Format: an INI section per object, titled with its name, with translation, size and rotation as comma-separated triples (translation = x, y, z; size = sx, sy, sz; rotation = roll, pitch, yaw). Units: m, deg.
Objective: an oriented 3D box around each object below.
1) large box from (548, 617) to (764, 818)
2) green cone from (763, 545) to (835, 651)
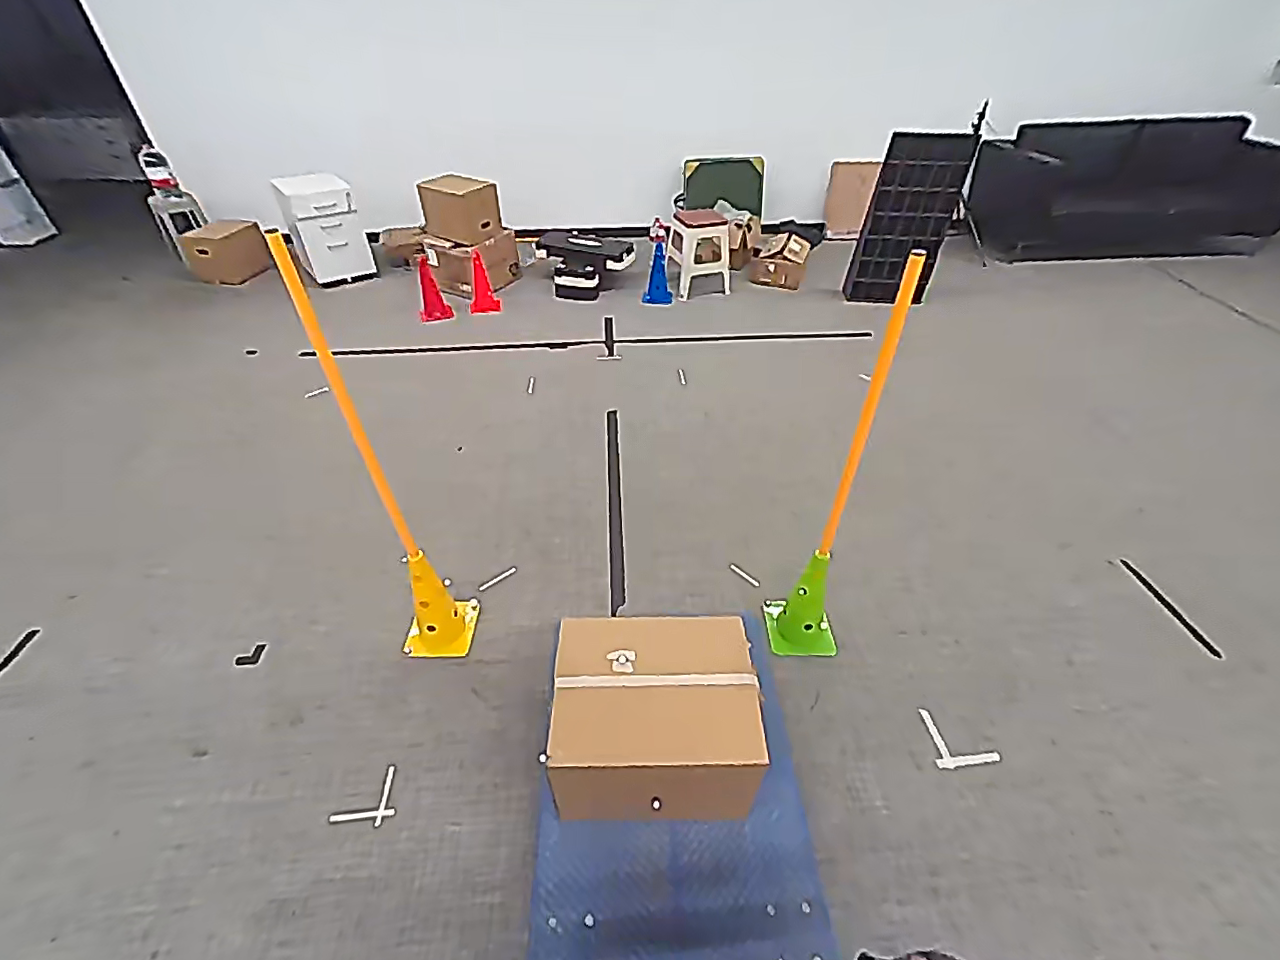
[large box]
translation = 0.031, 0.525, 1.195
size = 0.408, 0.320, 0.320
rotation = -1, 41, 0
[green cone]
translation = 0.512, 0.335, 1.629
size = 0.202, 0.368, 0.200
rotation = 1, 41, -1
